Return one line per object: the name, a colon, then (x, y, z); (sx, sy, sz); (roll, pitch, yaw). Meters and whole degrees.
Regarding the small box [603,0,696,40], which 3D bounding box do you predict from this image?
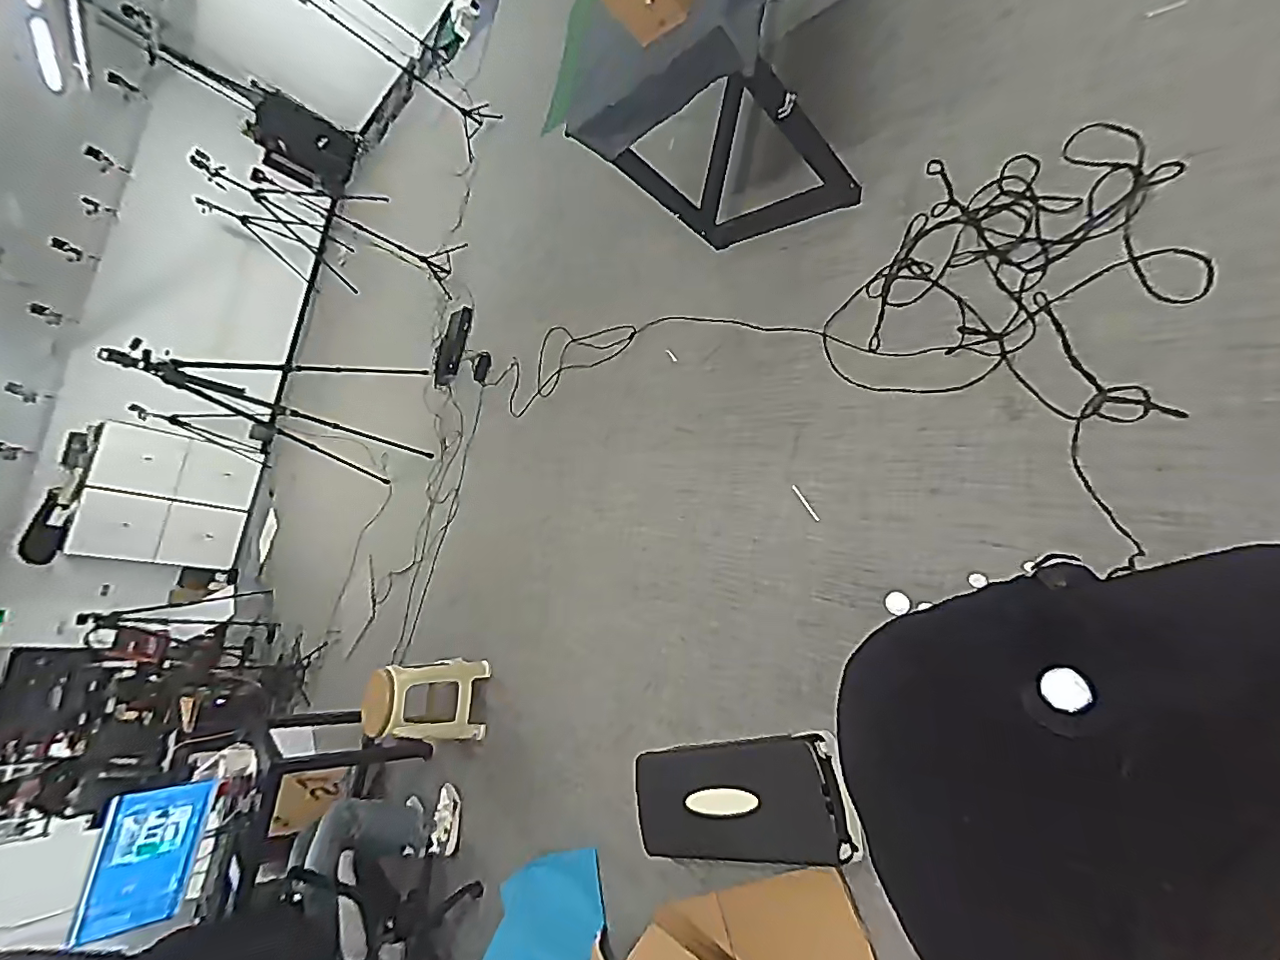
small box: (0.038, -1.209, 1.294); (0.168, 0.176, 0.179); (15, 87, 47)
